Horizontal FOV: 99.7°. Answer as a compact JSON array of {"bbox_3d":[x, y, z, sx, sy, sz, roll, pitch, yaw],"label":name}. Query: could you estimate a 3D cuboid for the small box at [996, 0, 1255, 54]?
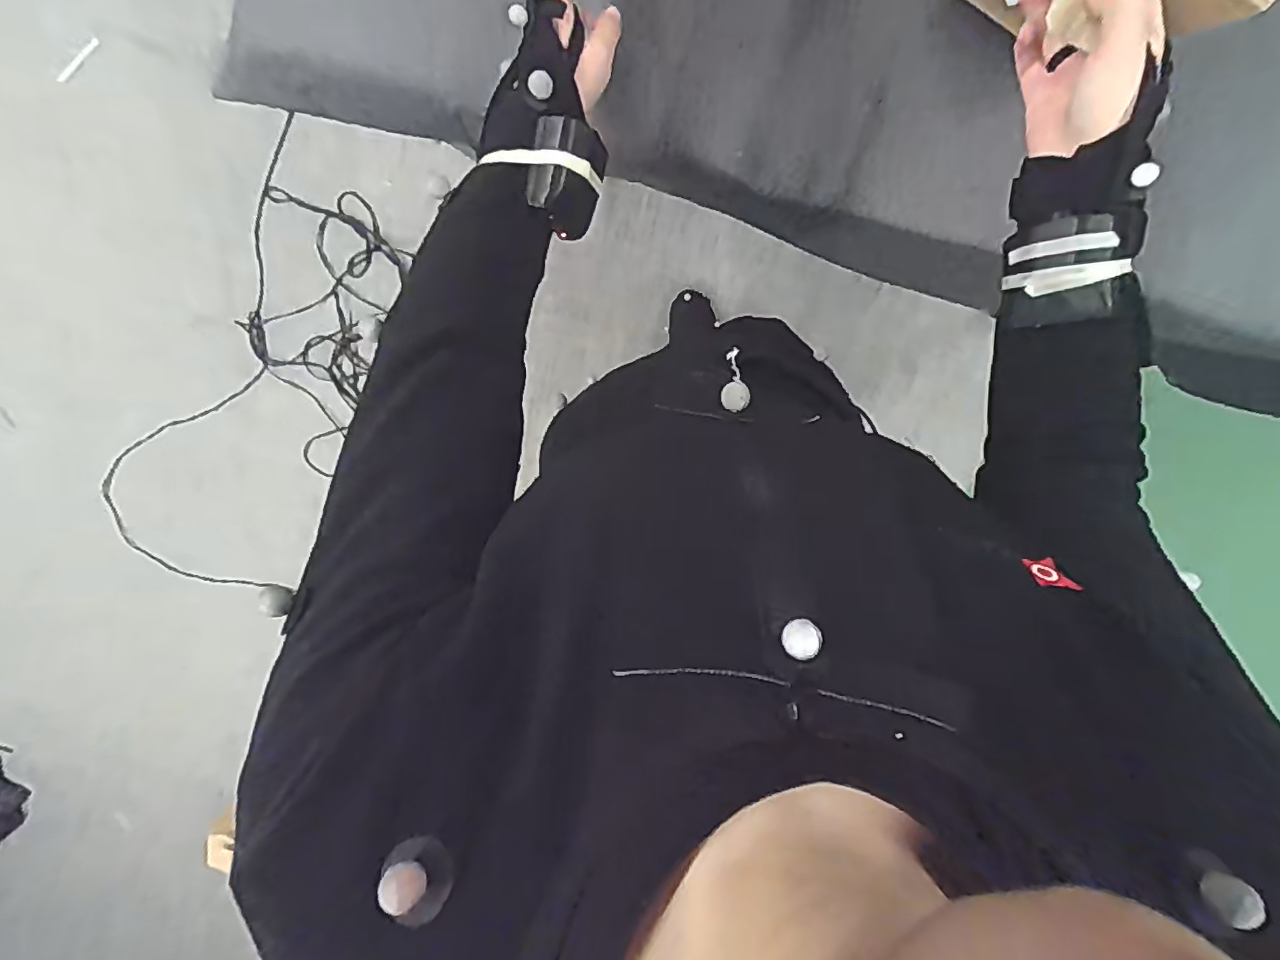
[{"bbox_3d":[0.319,-0.402,0.314,0.168,0.176,0.179,25,115,-10],"label":"small box"}]
